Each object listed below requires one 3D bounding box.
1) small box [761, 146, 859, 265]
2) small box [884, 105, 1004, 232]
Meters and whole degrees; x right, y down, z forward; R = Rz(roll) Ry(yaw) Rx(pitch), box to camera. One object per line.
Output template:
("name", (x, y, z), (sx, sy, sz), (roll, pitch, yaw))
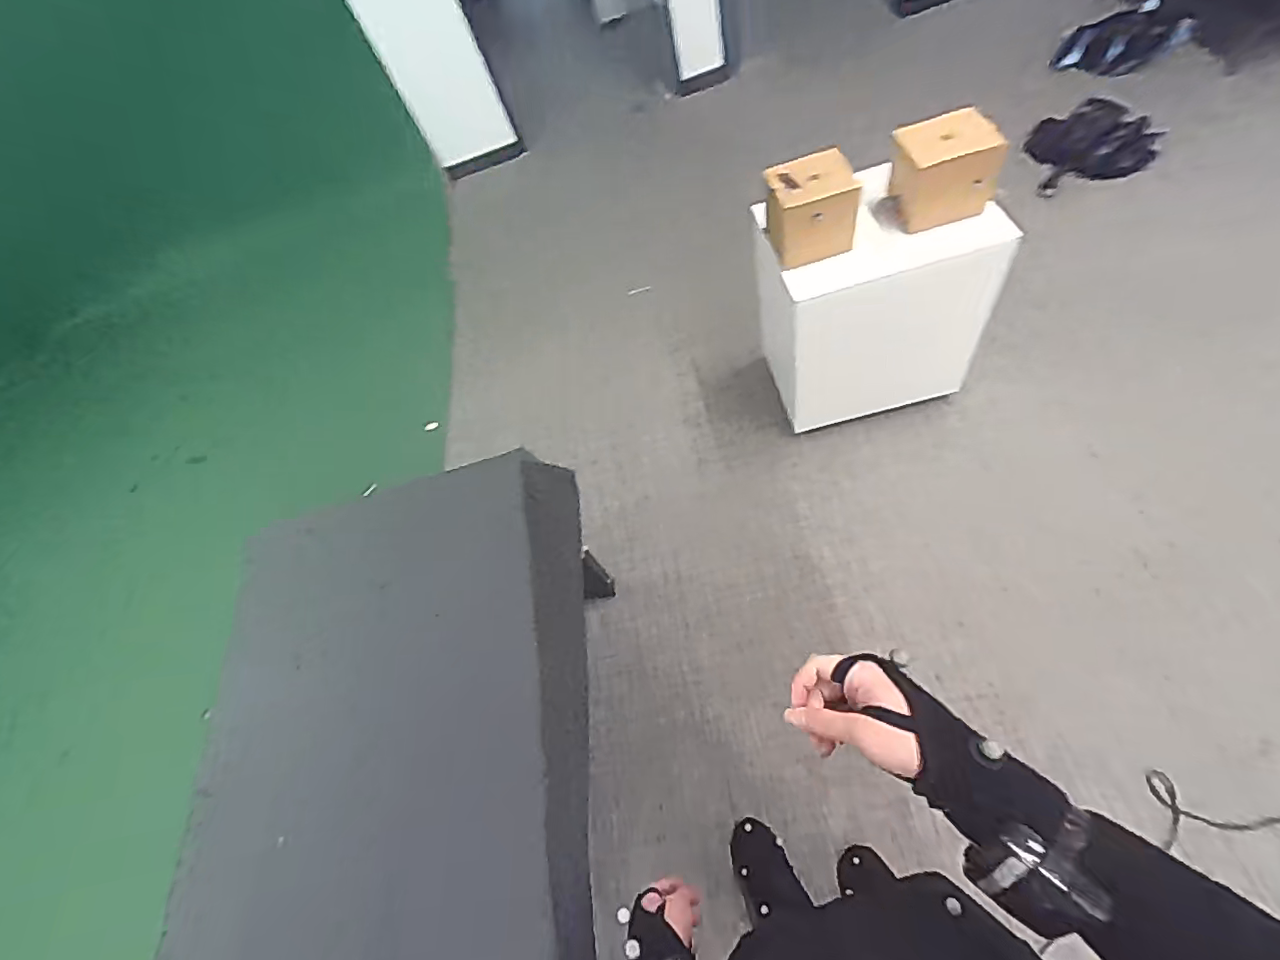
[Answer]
("small box", (0.395, -0.642, 1.280), (0.179, 0.176, 0.168), (-15, 58, 5))
("small box", (0.683, -0.707, 1.240), (0.179, 0.176, 0.168), (-14, 57, 9))
